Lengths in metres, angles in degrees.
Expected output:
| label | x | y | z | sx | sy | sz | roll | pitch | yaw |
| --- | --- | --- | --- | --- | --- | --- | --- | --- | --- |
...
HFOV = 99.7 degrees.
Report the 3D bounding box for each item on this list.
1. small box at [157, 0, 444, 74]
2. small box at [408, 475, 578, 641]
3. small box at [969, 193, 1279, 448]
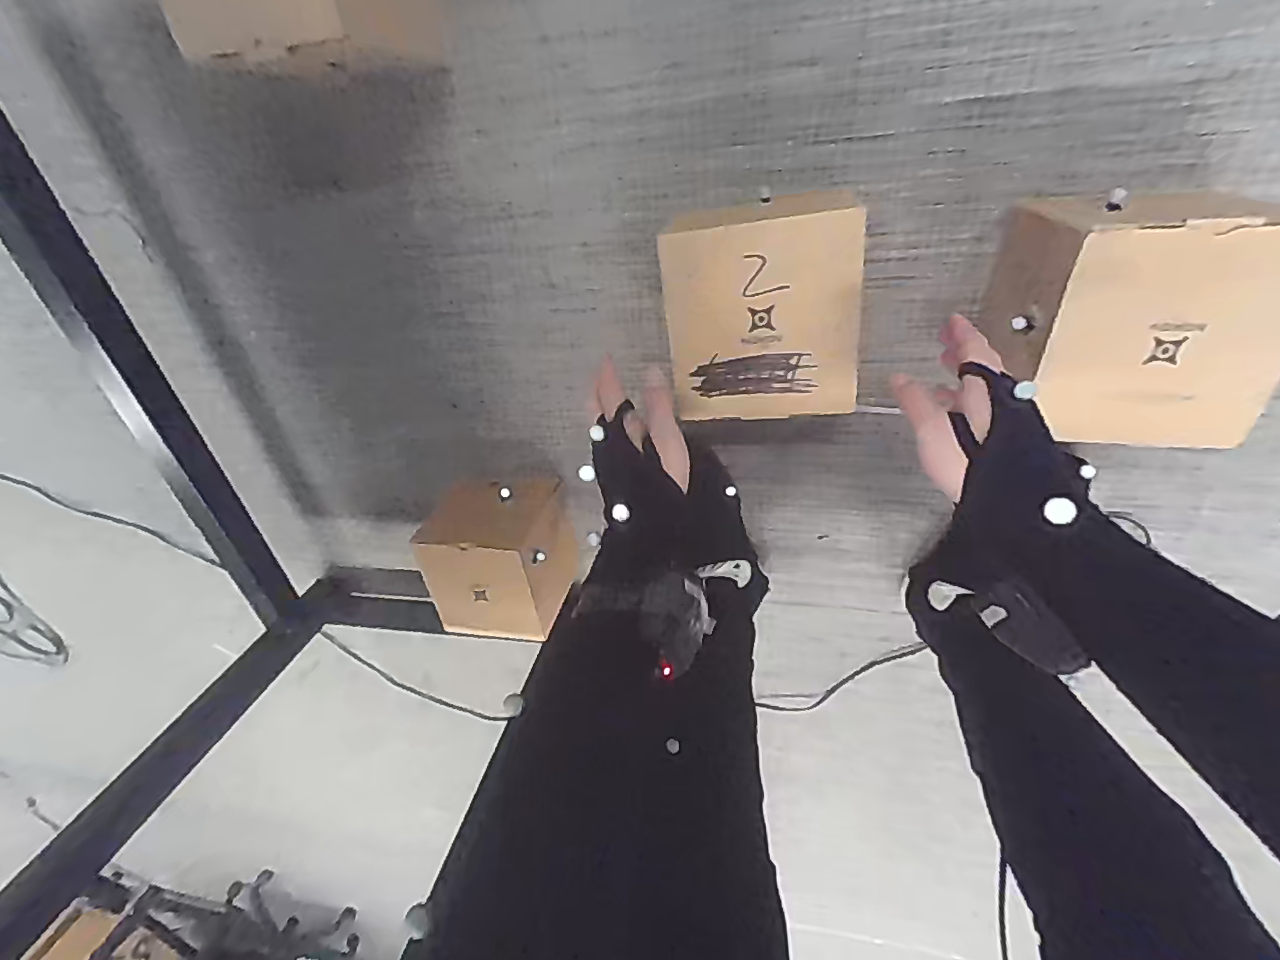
| label | x | y | z | sx | sy | sz | roll | pitch | yaw |
| --- | --- | --- | --- | --- | --- | --- | --- | --- | --- |
| small box | -0.294 | -0.461 | 0.460 | 0.168 | 0.176 | 0.179 | 4 | 124 | 13 |
| small box | -0.205 | 0.112 | 0.811 | 0.168 | 0.176 | 0.179 | 1 | 122 | 15 |
| small box | 0.414 | -0.147 | 0.473 | 0.168 | 0.176 | 0.179 | 5 | 124 | 13 |
